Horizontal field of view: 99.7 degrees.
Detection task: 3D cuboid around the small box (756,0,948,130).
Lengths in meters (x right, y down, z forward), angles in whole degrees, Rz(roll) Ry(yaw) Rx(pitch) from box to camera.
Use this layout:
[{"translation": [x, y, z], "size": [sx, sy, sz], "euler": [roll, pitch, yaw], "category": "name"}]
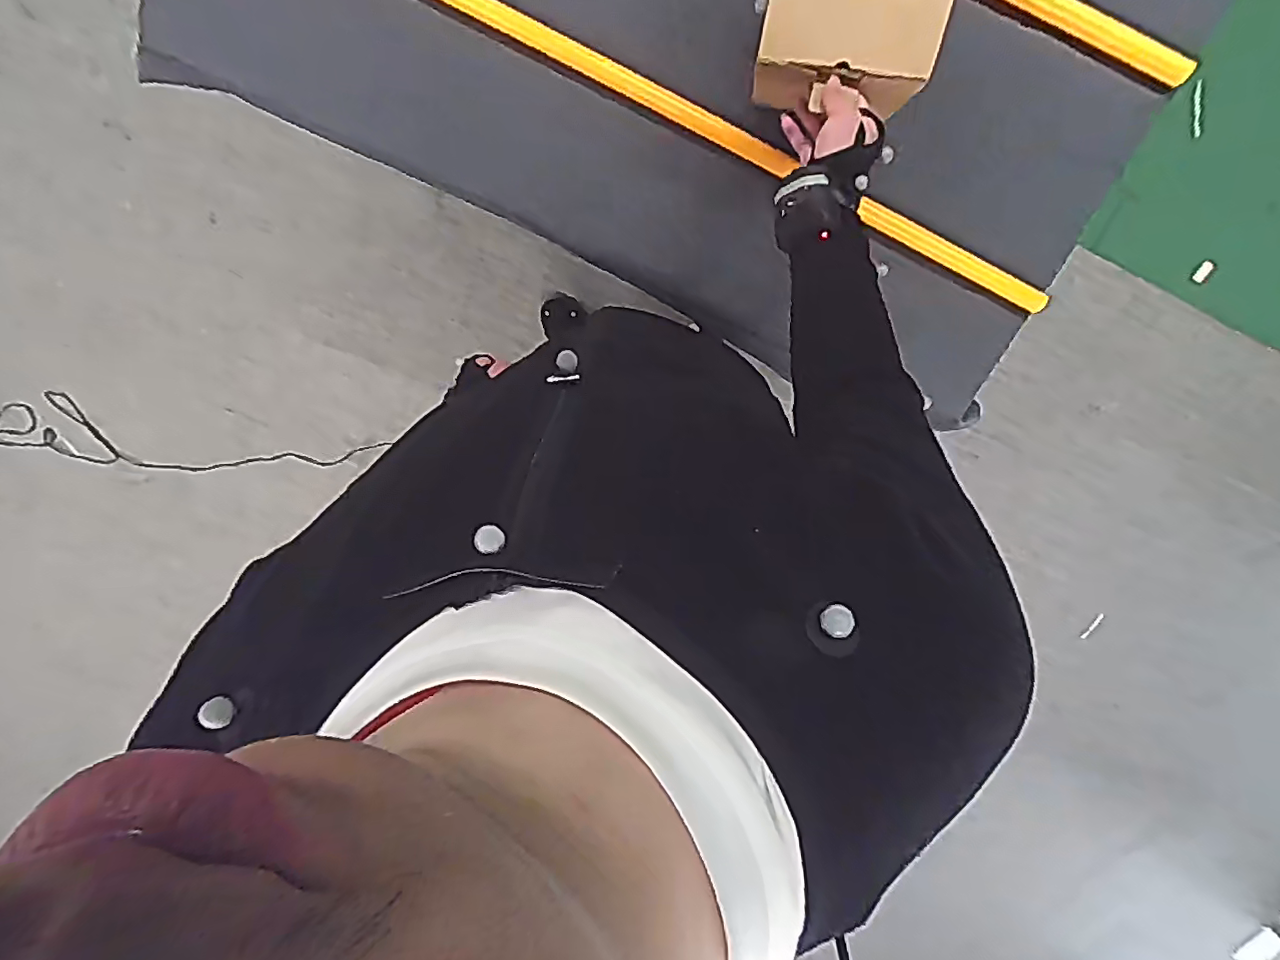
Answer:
[{"translation": [0.222, -0.495, 0.576], "size": [0.168, 0.176, 0.179], "euler": [10, 112, 8], "category": "small box"}]
